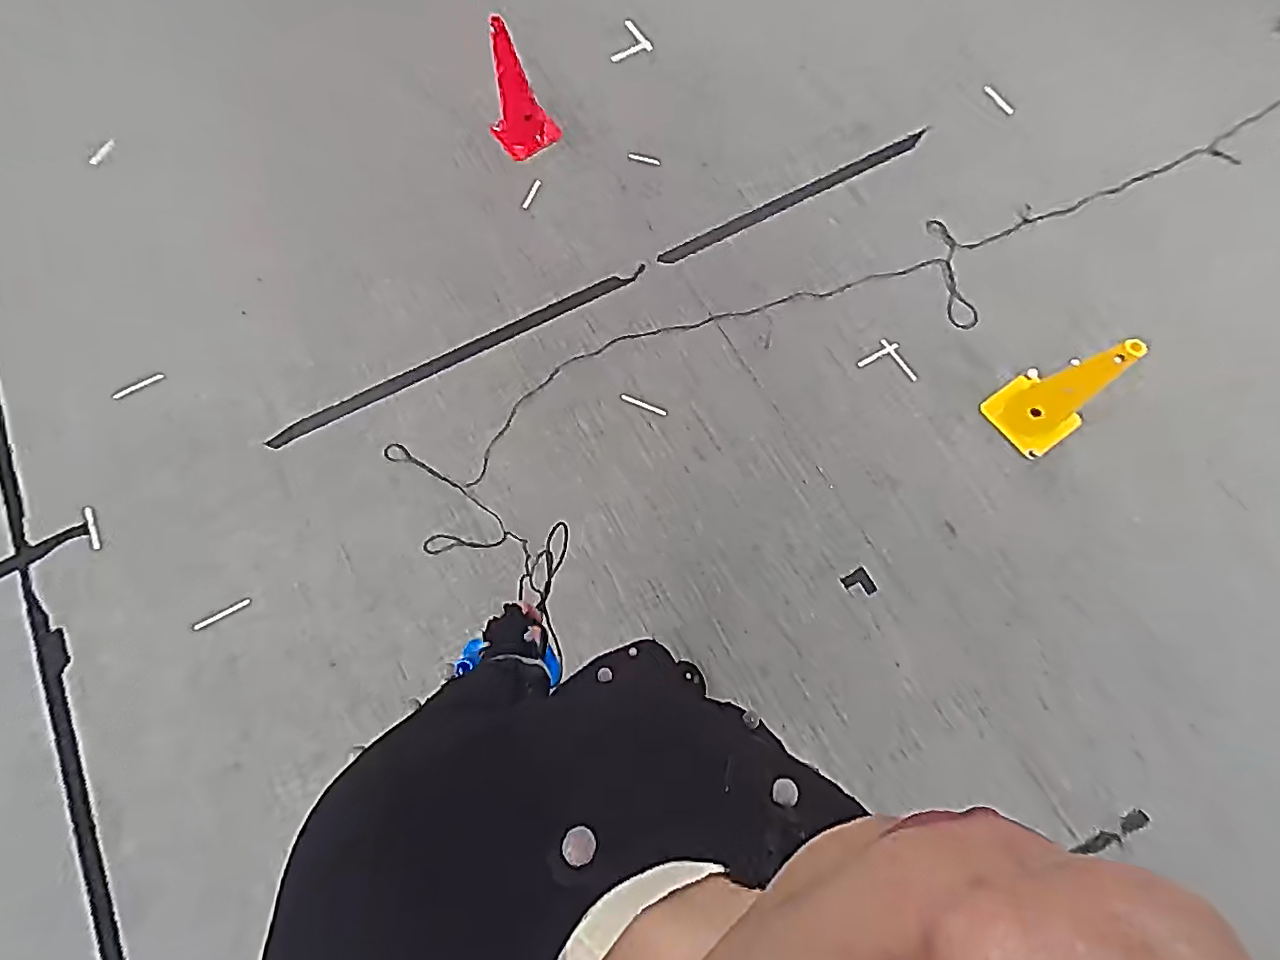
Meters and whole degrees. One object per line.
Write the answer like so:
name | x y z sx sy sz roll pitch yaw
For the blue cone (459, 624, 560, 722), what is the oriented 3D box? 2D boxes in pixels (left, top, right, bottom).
blue cone | -0.320 0.429 1.189 0.193 0.380 0.192 -27 75 -5

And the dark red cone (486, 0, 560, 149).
dark red cone | -0.400 -1.261 1.673 0.202 0.394 0.201 -35 76 -8
